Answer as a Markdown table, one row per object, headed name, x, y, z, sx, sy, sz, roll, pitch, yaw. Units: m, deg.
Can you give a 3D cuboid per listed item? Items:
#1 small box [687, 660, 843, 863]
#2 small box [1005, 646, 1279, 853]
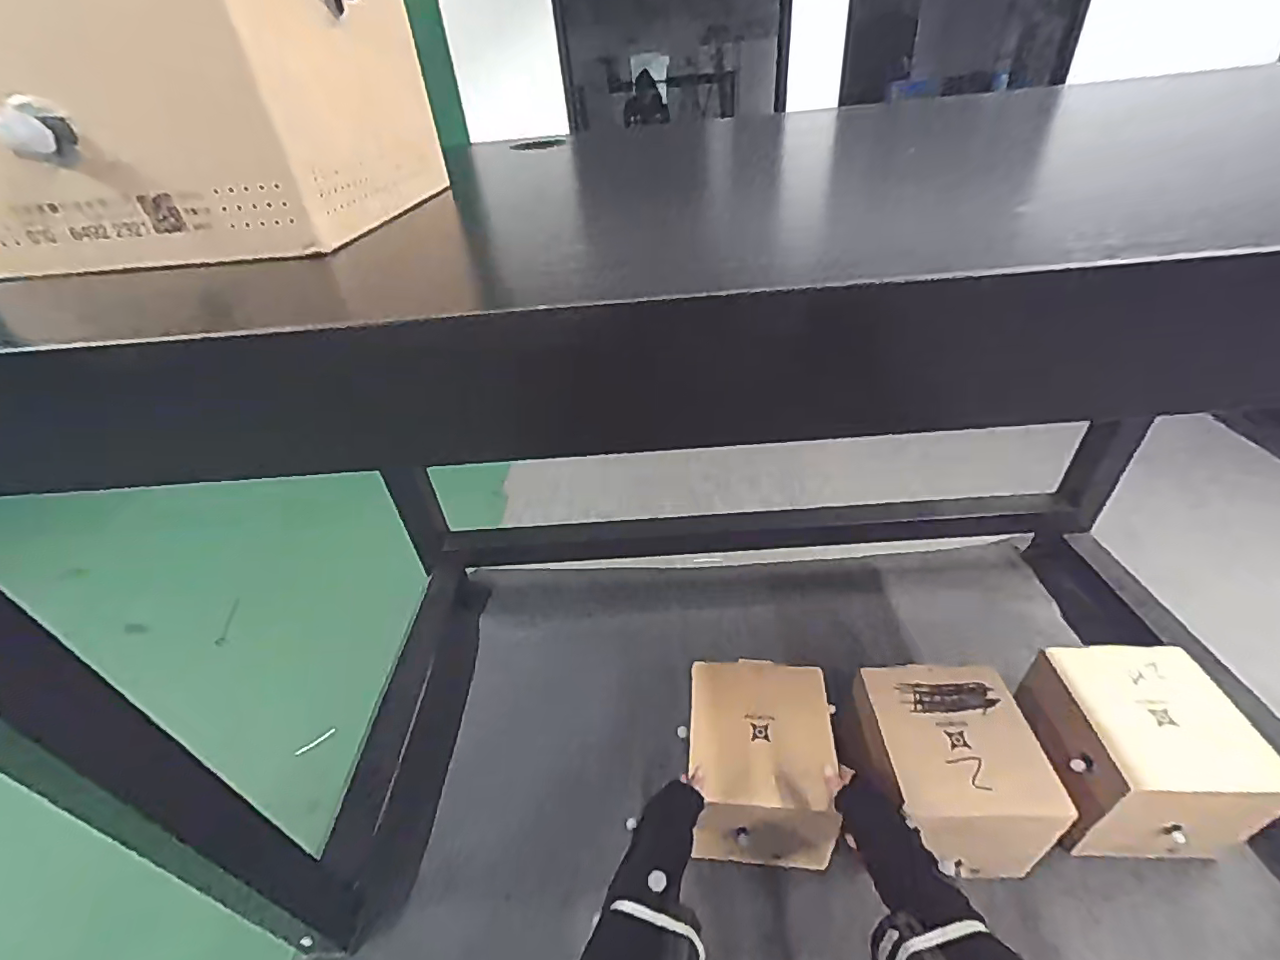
| name | x | y | z | sx | sy | sz | roll | pitch | yaw |
| --- | --- | --- | --- | --- | --- | --- | --- | --- | --- |
| small box | 0.150 | 0.355 | 0.686 | 0.168 | 0.176 | 0.179 | 0 | 37 | 8 |
| small box | 0.590 | 0.326 | 0.658 | 0.168 | 0.176 | 0.179 | -2 | 36 | 5 |
